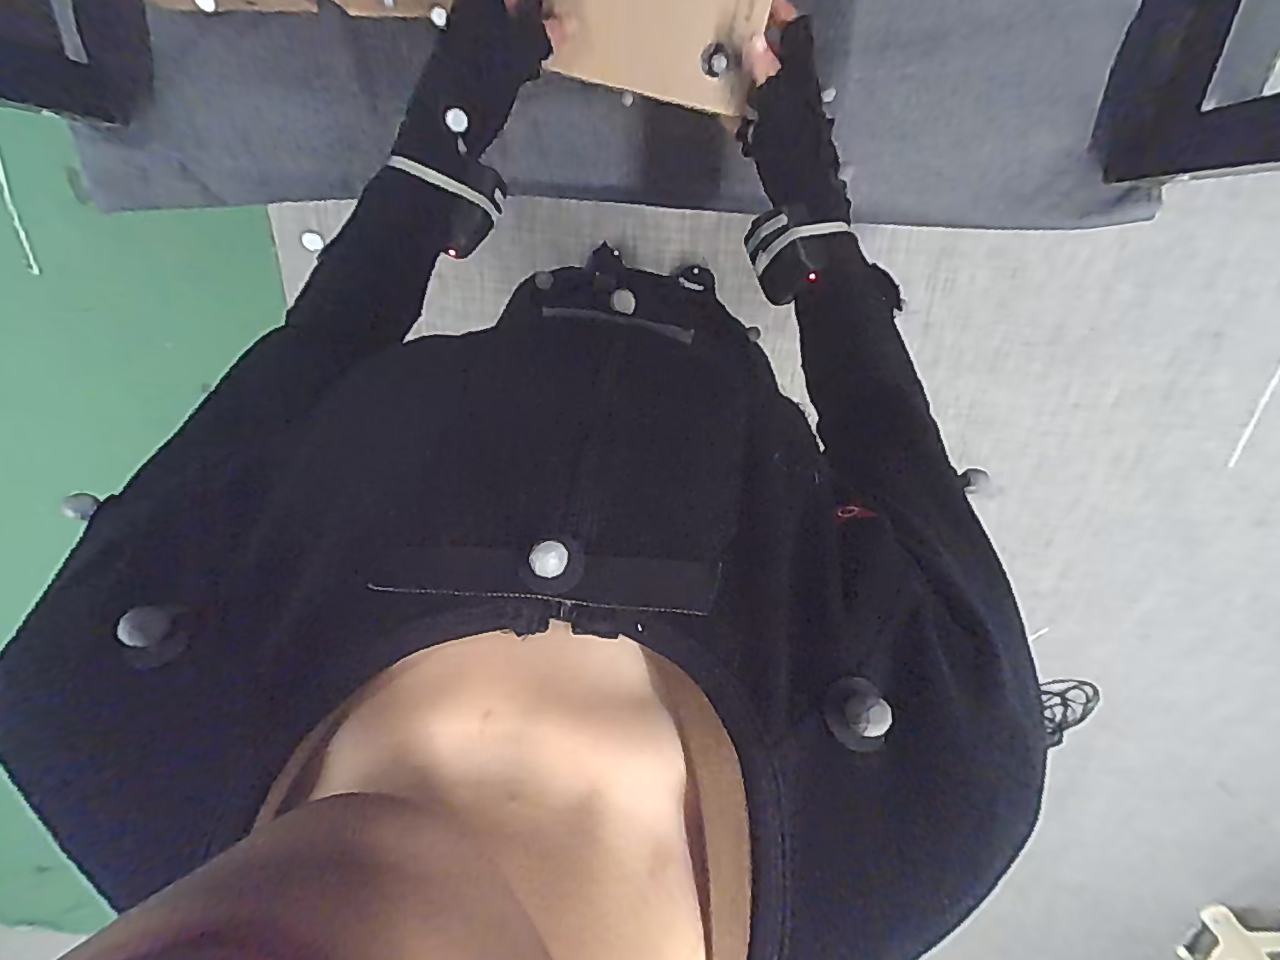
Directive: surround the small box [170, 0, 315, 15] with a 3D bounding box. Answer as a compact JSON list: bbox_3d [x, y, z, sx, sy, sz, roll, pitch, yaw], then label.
[{"bbox_3d":[-0.412,-0.535,0.453,0.168,0.176,0.179,3,113,3],"label":"small box"}]
